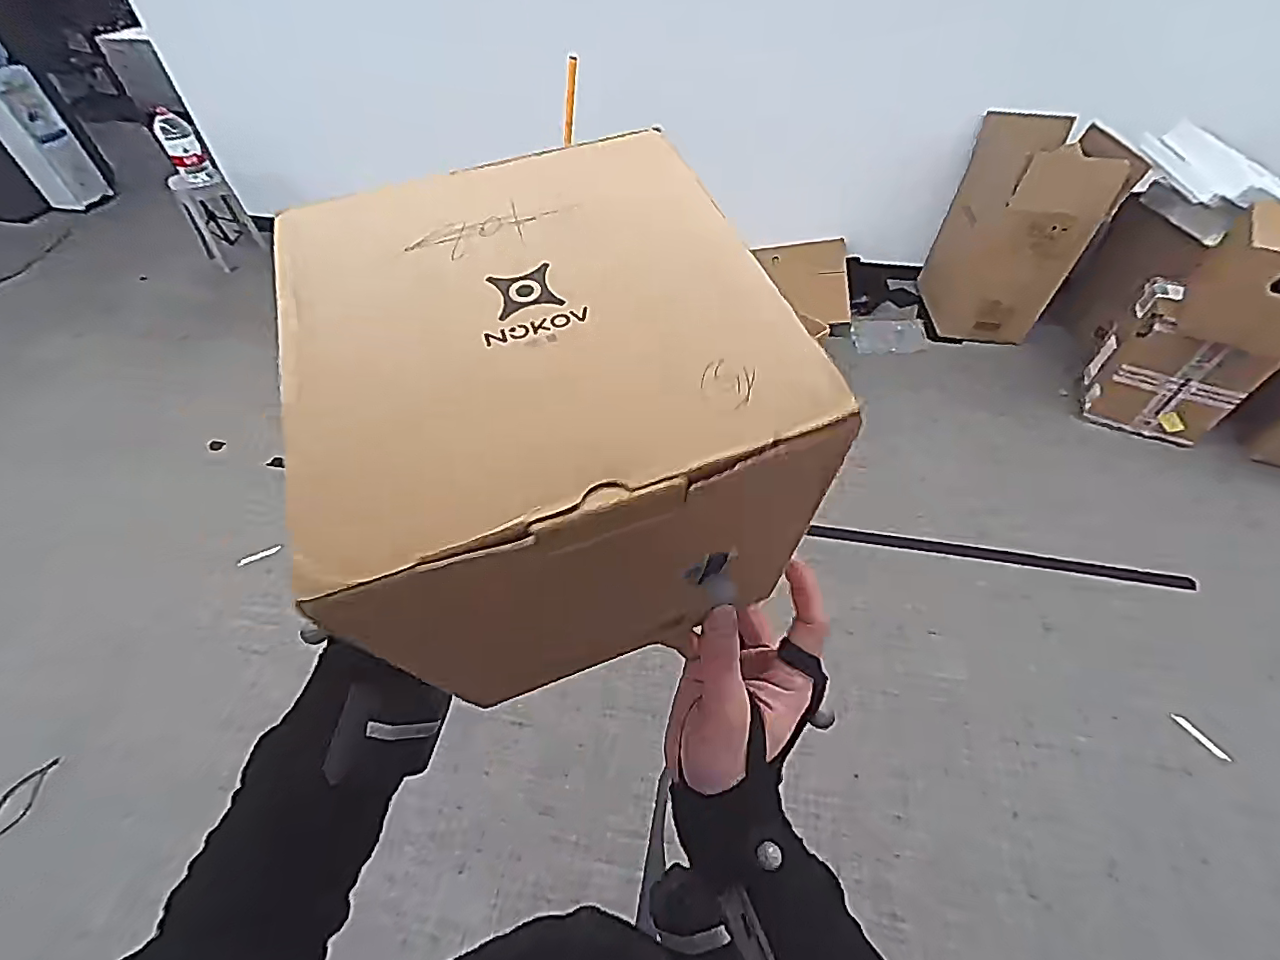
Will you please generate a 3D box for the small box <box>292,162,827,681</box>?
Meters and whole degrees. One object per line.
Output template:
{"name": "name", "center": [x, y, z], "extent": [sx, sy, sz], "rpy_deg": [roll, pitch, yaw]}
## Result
{"name": "small box", "center": [-0.040, -0.016, 0.272], "extent": [0.168, 0.176, 0.179], "rpy_deg": [-20, 60, -10]}
